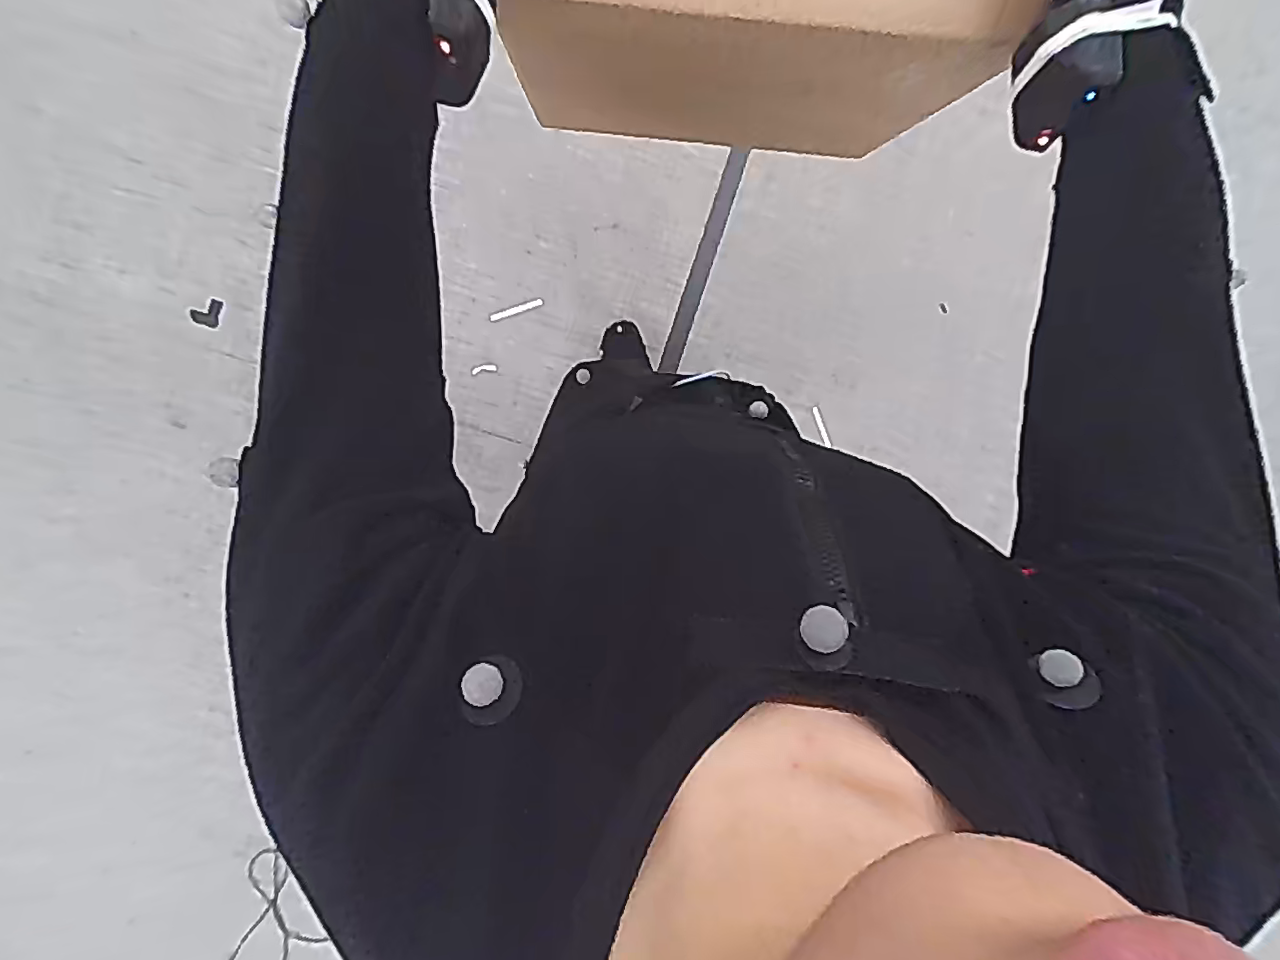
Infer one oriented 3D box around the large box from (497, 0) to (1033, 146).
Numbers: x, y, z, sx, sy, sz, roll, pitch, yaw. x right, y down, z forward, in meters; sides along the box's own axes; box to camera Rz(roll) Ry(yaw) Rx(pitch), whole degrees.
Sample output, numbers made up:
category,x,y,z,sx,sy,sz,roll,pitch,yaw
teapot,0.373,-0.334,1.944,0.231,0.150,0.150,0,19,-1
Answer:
category,x,y,z,sx,sy,sz,roll,pitch,yaw
large box,0.089,-0.527,0.485,0.408,0.320,0.320,3,109,-4
